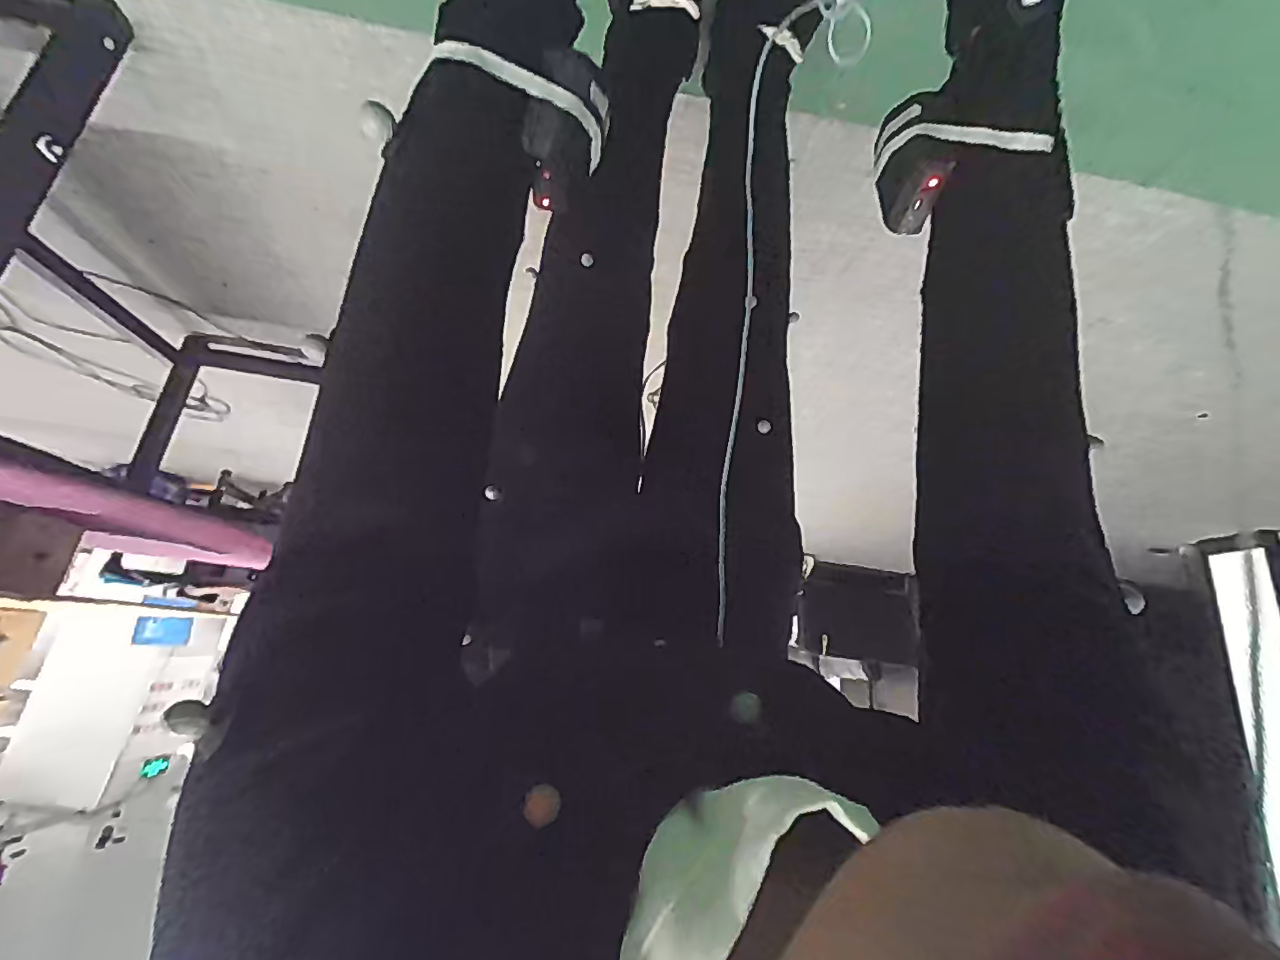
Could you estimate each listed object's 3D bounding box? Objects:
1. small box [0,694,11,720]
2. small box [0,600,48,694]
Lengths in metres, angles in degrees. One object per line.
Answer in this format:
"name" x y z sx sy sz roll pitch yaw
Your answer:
"small box" -1.302 0.455 0.949 0.179 0.176 0.168 10 162 -5
"small box" -1.284 0.300 0.998 0.179 0.176 0.168 11 163 -7
